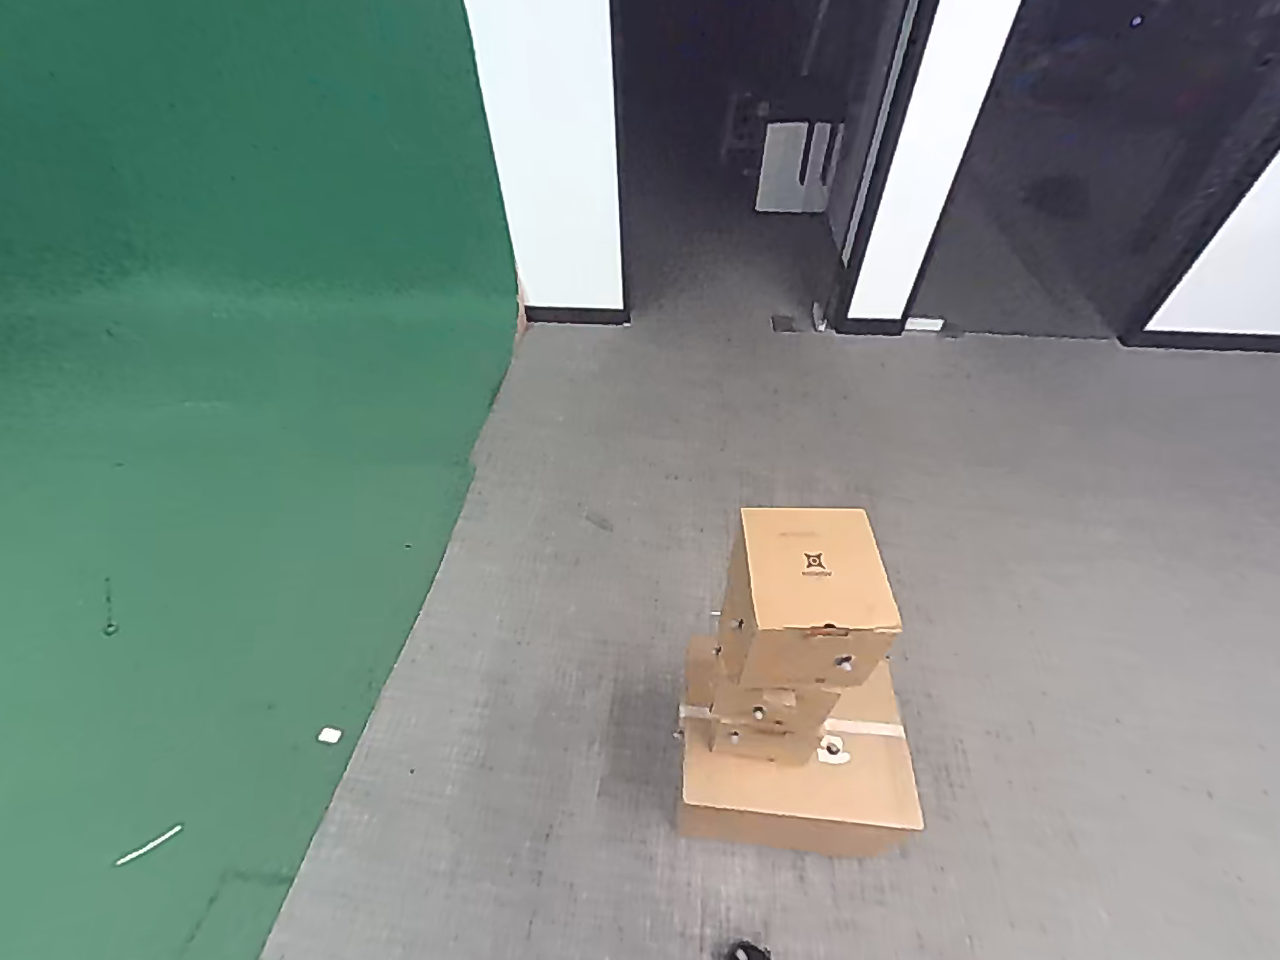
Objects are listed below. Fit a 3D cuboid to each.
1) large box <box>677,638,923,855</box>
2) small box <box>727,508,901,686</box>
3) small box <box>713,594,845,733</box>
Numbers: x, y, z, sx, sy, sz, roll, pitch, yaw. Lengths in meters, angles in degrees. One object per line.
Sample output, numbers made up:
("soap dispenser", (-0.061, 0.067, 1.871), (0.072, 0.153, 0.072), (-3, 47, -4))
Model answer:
("large box", (0.286, 0.551, 1.117), (0.408, 0.320, 0.320), (4, 49, 4))
("small box", (0.211, 0.156, 0.710), (0.168, 0.176, 0.179), (1, 47, 1))
("small box", (0.207, 0.261, 0.834), (0.168, 0.176, 0.179), (8, 48, 8))
